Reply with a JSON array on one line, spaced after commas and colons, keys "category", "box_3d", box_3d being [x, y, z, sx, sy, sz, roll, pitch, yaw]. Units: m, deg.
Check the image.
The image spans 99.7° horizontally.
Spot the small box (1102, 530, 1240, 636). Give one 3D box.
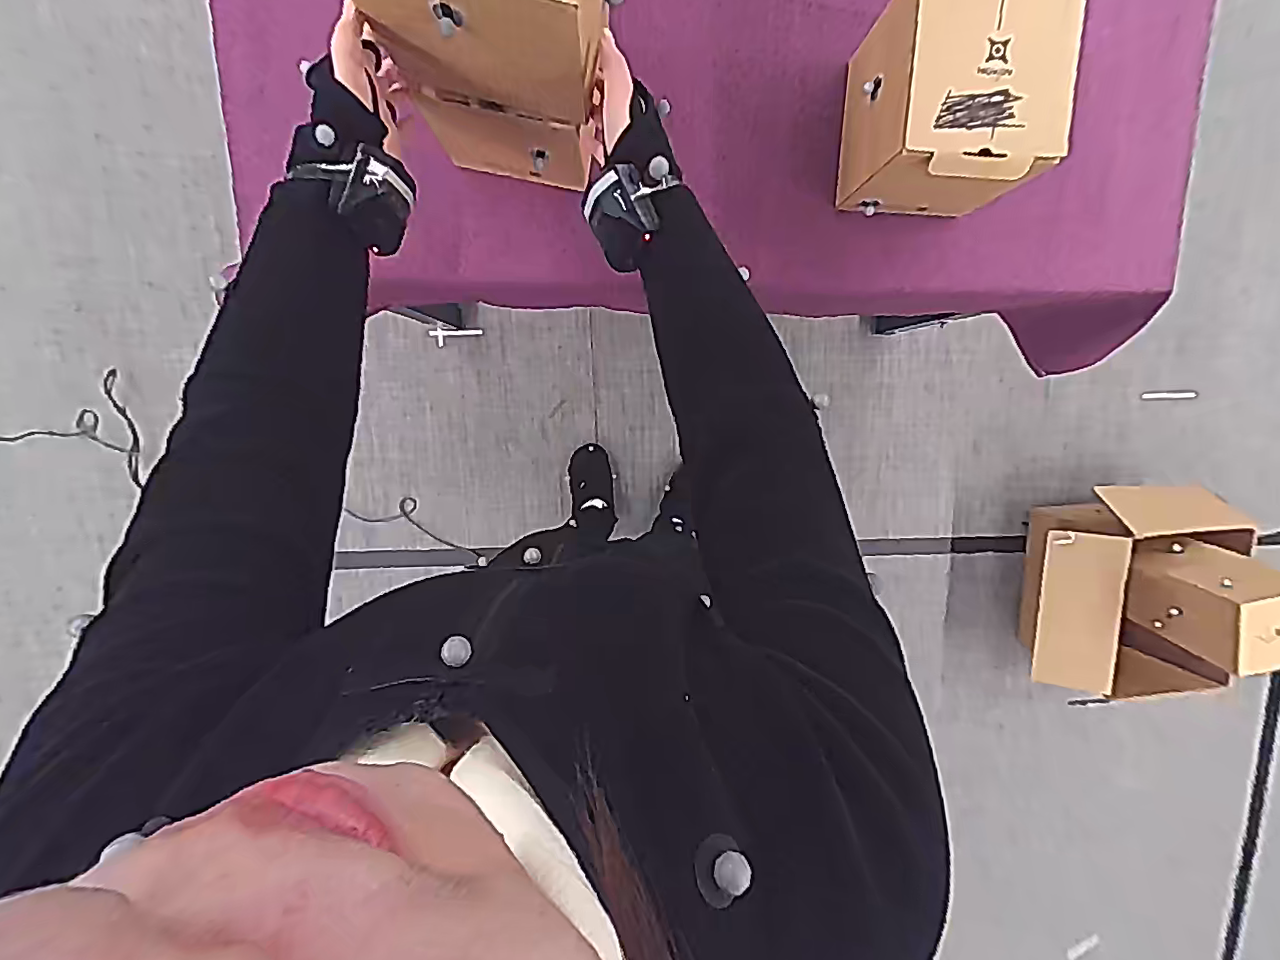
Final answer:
[{"category": "small box", "box_3d": [1.273, 0.238, 1.308, 0.168, 0.176, 0.179, -22, 103, 3]}]

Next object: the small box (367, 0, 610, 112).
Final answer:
[{"category": "small box", "box_3d": [-0.114, -0.422, 0.414, 0.179, 0.176, 0.168, 11, 100, -6]}]

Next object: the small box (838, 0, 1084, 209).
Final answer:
[{"category": "small box", "box_3d": [0.336, -0.420, 0.600, 0.168, 0.176, 0.179, 2, 98, -3]}]

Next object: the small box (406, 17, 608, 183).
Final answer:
[{"category": "small box", "box_3d": [-0.128, -0.447, 0.575, 0.168, 0.176, 0.179, 10, 99, -5]}]
